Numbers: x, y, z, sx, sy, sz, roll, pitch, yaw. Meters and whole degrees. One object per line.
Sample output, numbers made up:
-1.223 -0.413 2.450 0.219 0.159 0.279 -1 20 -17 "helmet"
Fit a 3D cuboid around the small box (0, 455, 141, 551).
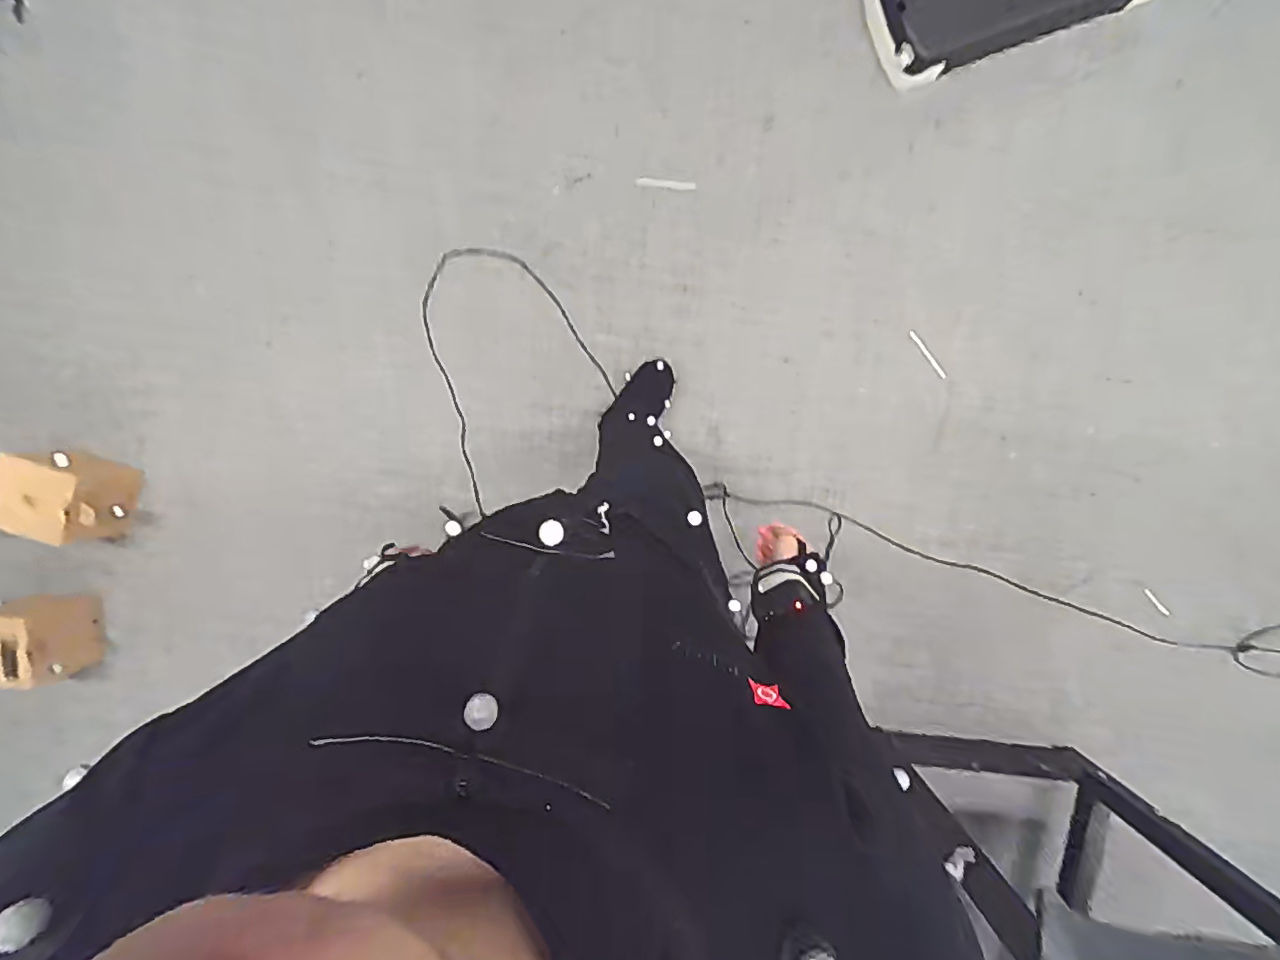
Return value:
-1.317 0.045 1.237 0.179 0.176 0.168 18 95 -3 "small box"
